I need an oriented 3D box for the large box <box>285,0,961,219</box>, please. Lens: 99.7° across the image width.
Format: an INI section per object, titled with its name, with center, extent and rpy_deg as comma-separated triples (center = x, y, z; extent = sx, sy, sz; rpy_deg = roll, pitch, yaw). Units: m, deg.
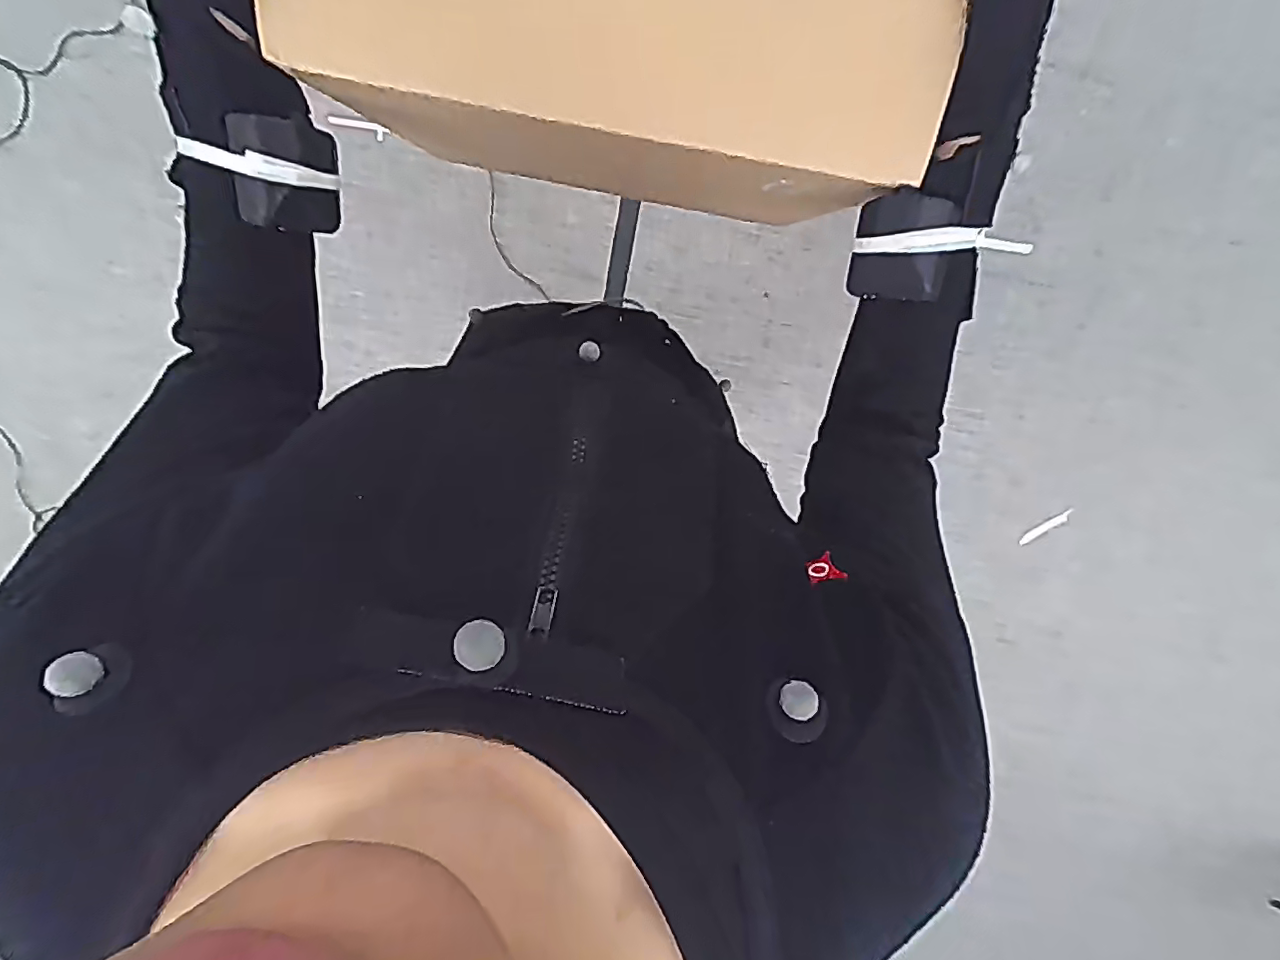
[large box]
center = 0.000, -0.417, 0.428
extent = 0.408, 0.320, 0.320
rpy_deg = 8, 112, -5
